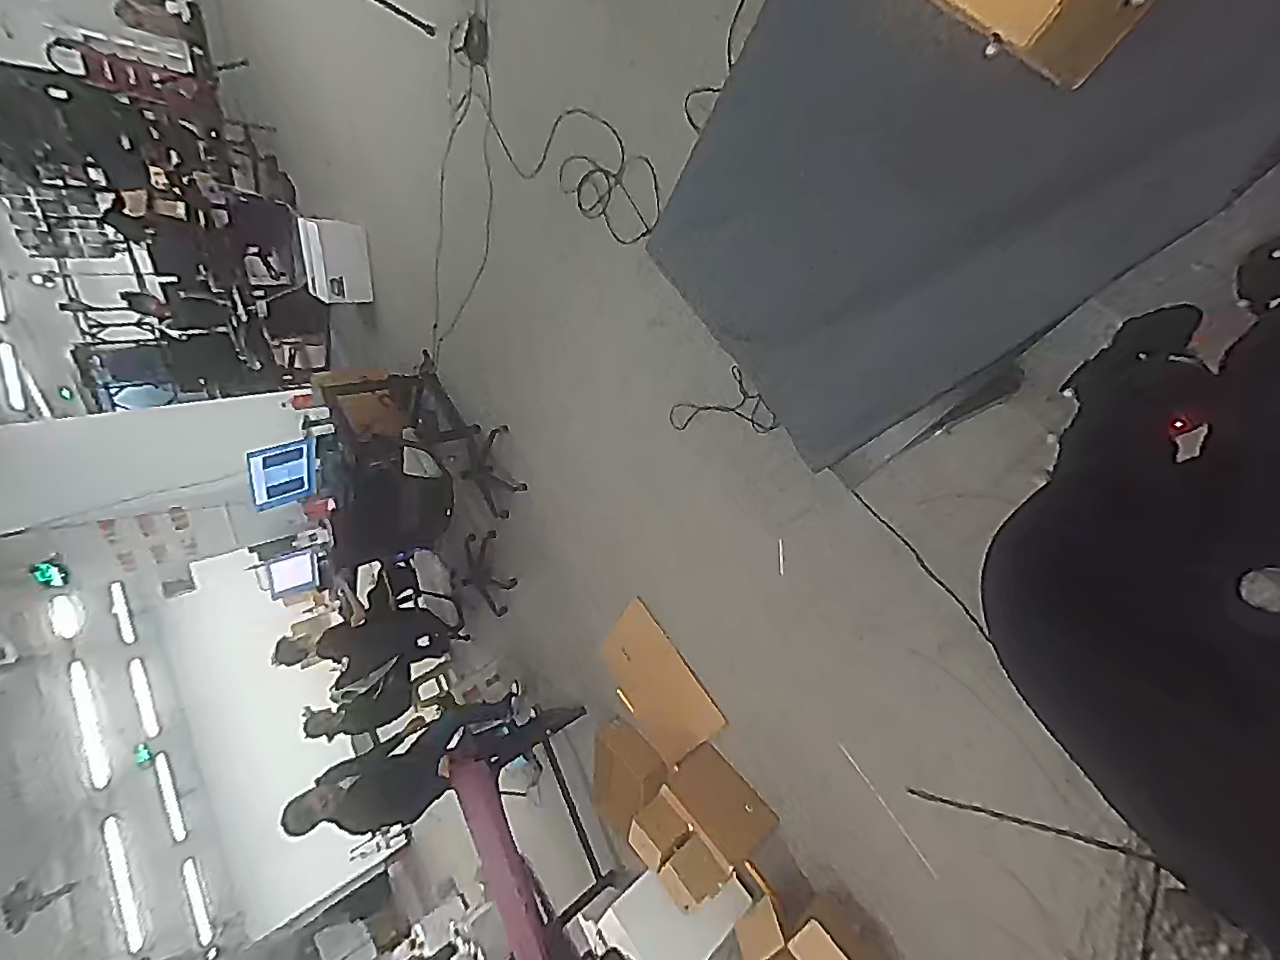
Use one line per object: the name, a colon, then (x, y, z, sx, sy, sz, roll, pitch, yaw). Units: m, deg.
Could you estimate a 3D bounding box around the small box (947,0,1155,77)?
small box: (0.389, -0.509, 0.492, 0.179, 0.176, 0.168, 54, 138, 20)
